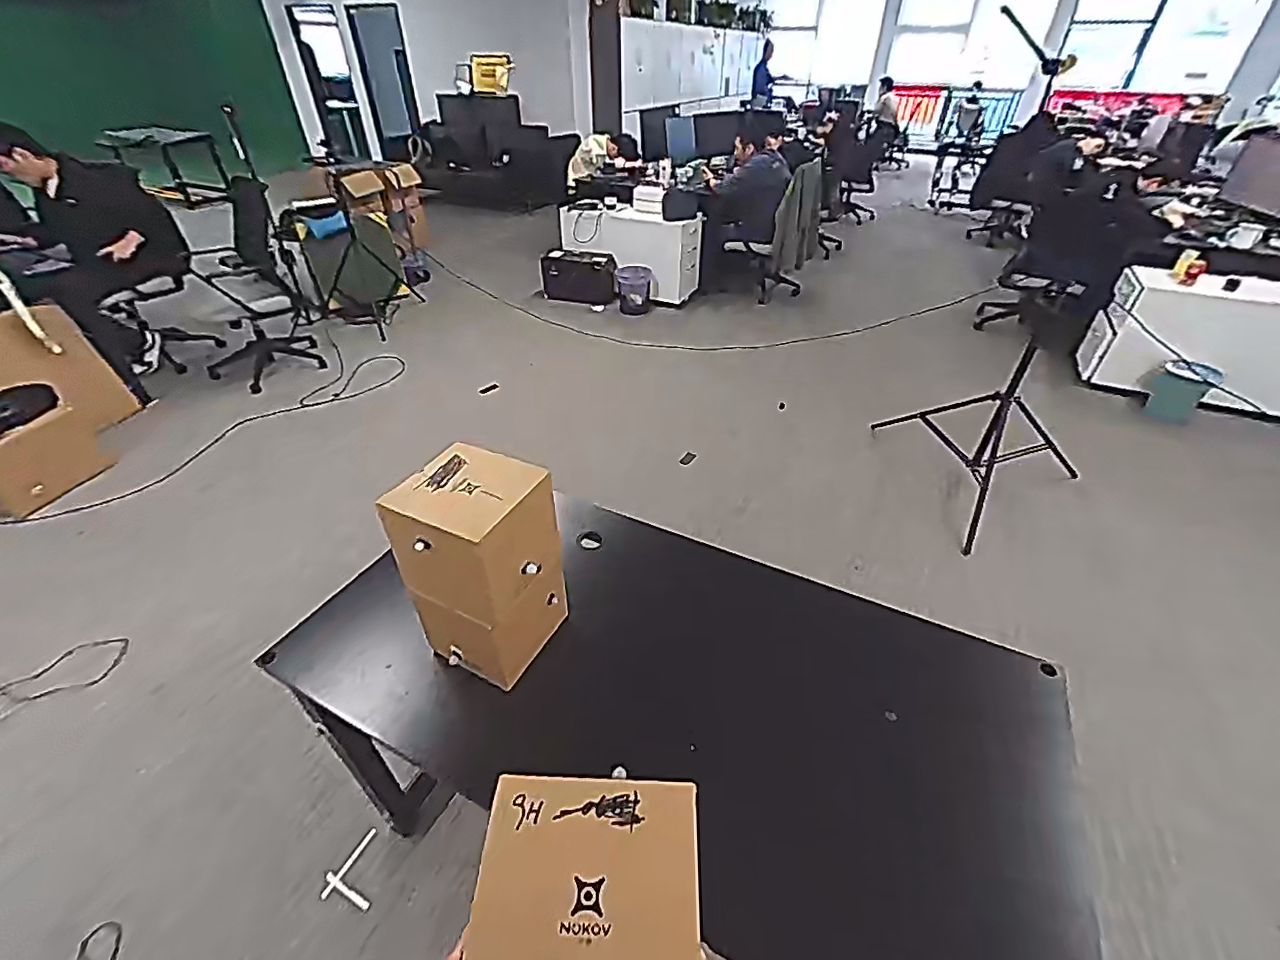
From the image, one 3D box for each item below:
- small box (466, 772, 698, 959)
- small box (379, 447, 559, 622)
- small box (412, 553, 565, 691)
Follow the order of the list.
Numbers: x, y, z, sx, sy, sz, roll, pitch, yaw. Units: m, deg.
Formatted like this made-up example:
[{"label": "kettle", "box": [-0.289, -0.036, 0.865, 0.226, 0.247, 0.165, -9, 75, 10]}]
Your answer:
[{"label": "small box", "box": [-0.037, 0.366, 0.453, 0.168, 0.176, 0.179, 2, 46, 2]}, {"label": "small box", "box": [-0.238, 0.078, 0.795, 0.179, 0.176, 0.168, 17, 41, 20]}, {"label": "small box", "box": [-0.238, 0.207, 0.897, 0.168, 0.176, 0.179, 16, 41, 21]}]
